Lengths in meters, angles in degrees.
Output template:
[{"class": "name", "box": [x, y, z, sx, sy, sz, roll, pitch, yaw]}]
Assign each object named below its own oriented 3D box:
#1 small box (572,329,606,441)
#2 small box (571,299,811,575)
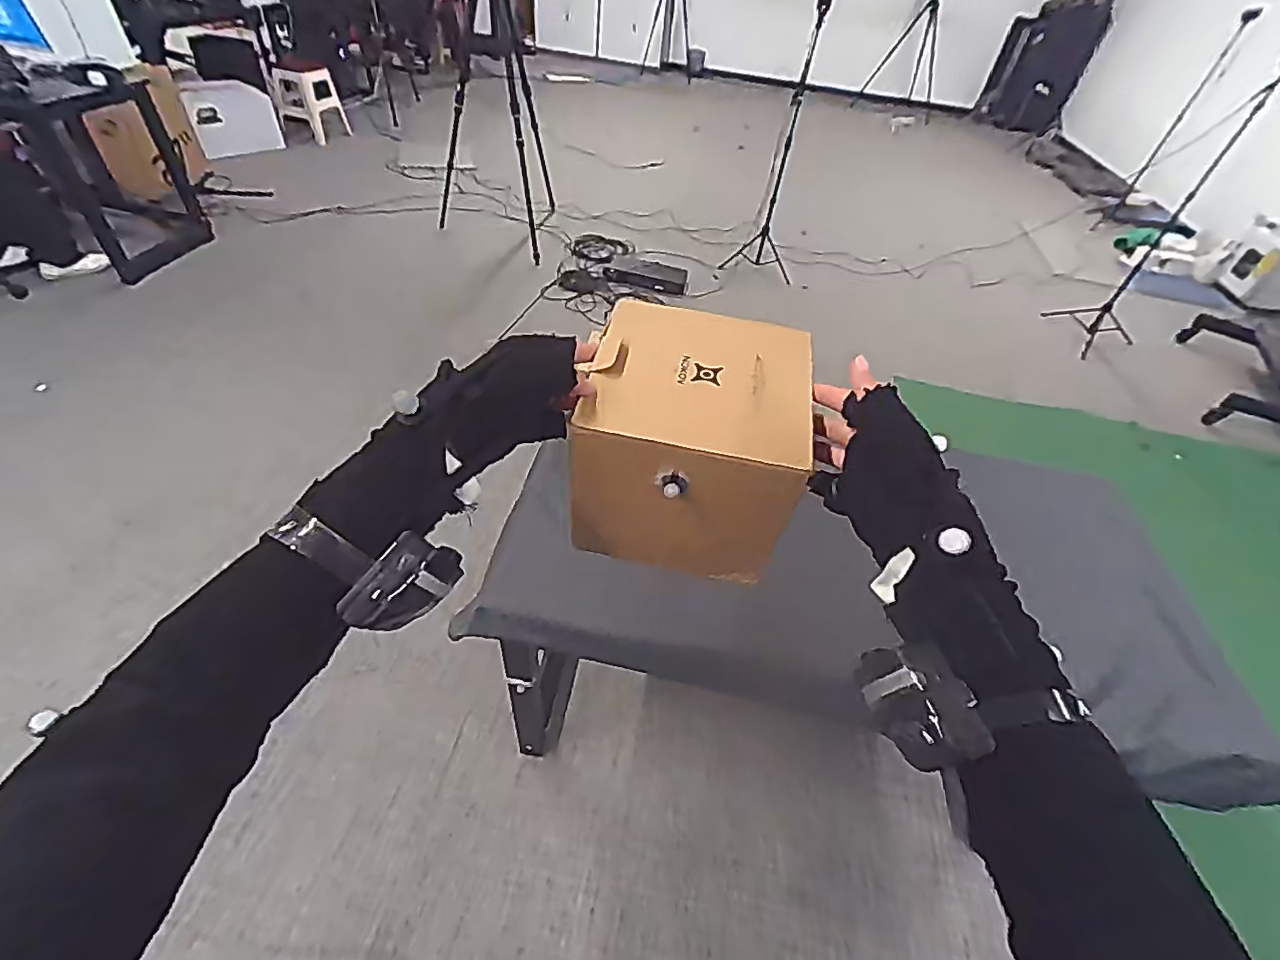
[{"class": "small box", "box": [-0.033, -0.174, 1.091, 0.179, 0.176, 0.168, 12, 47, 1]}, {"class": "small box", "box": [0.042, -0.034, 0.492, 0.179, 0.176, 0.168, 13, 52, 2]}]
